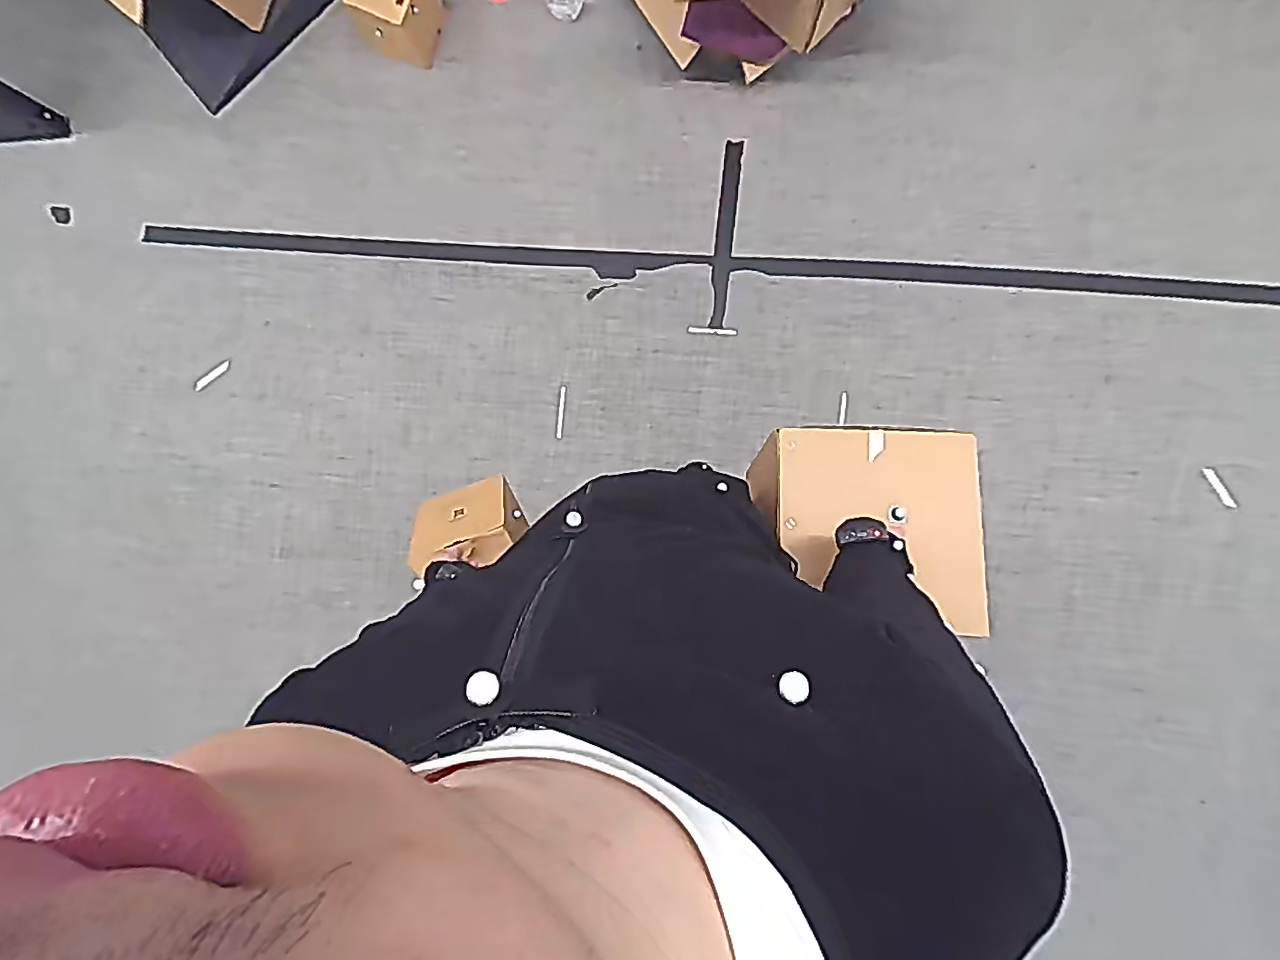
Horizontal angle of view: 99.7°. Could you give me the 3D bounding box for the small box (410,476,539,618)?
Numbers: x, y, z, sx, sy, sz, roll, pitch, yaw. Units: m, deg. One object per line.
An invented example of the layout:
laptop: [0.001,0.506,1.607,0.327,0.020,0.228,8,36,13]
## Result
small box: [-0.293,0.127,0.988,0.168,0.179,0.176,-20,124,-2]
